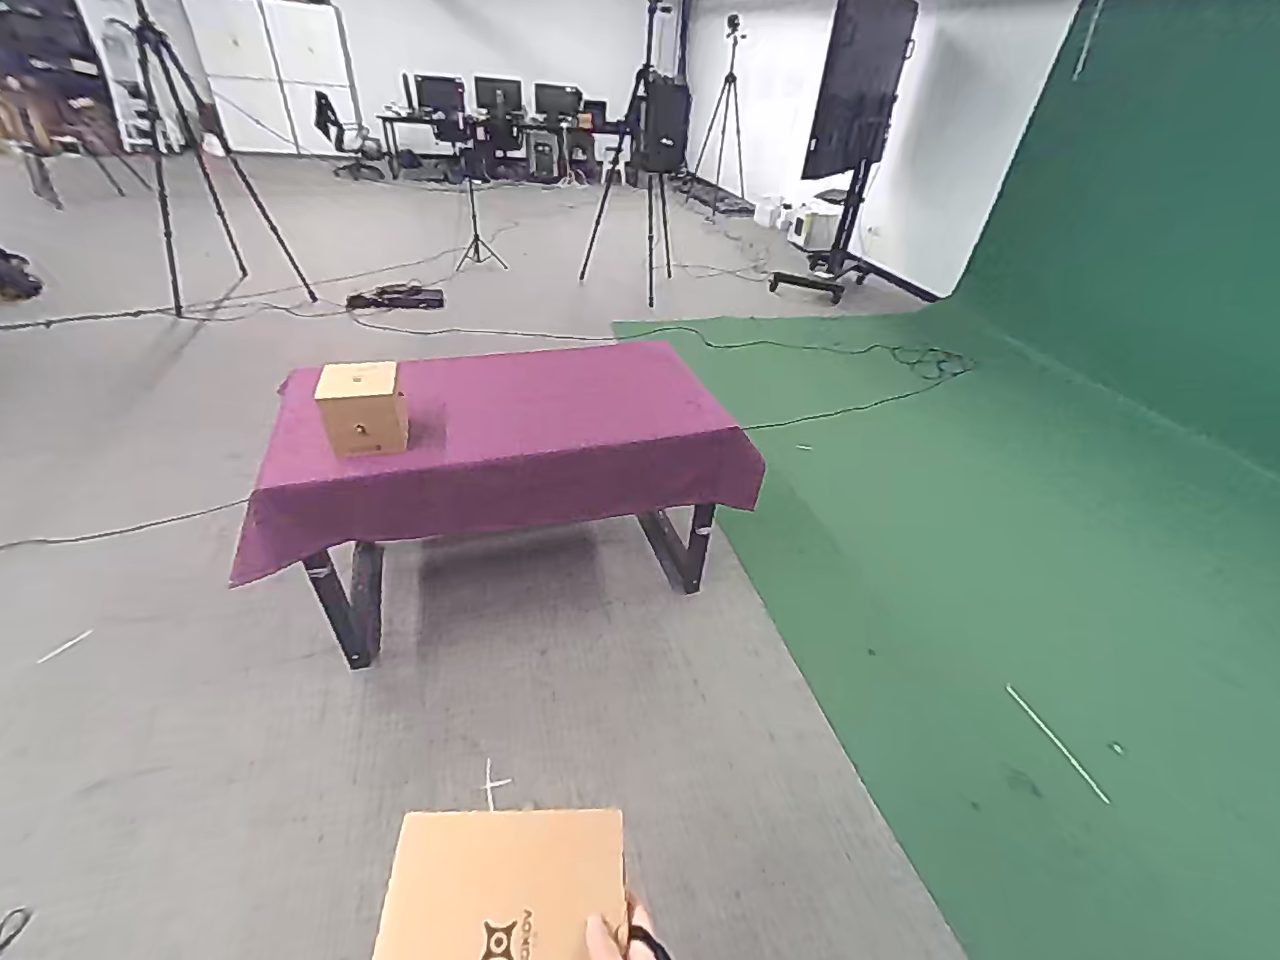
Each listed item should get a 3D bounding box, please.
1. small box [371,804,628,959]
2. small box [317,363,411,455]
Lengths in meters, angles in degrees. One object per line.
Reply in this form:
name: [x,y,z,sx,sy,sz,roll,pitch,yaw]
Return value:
small box: [-0.106,0.377,0.431,0.179,0.176,0.168,4,43,-8]
small box: [-0.670,-0.172,1.335,0.168,0.176,0.179,-6,39,-15]
